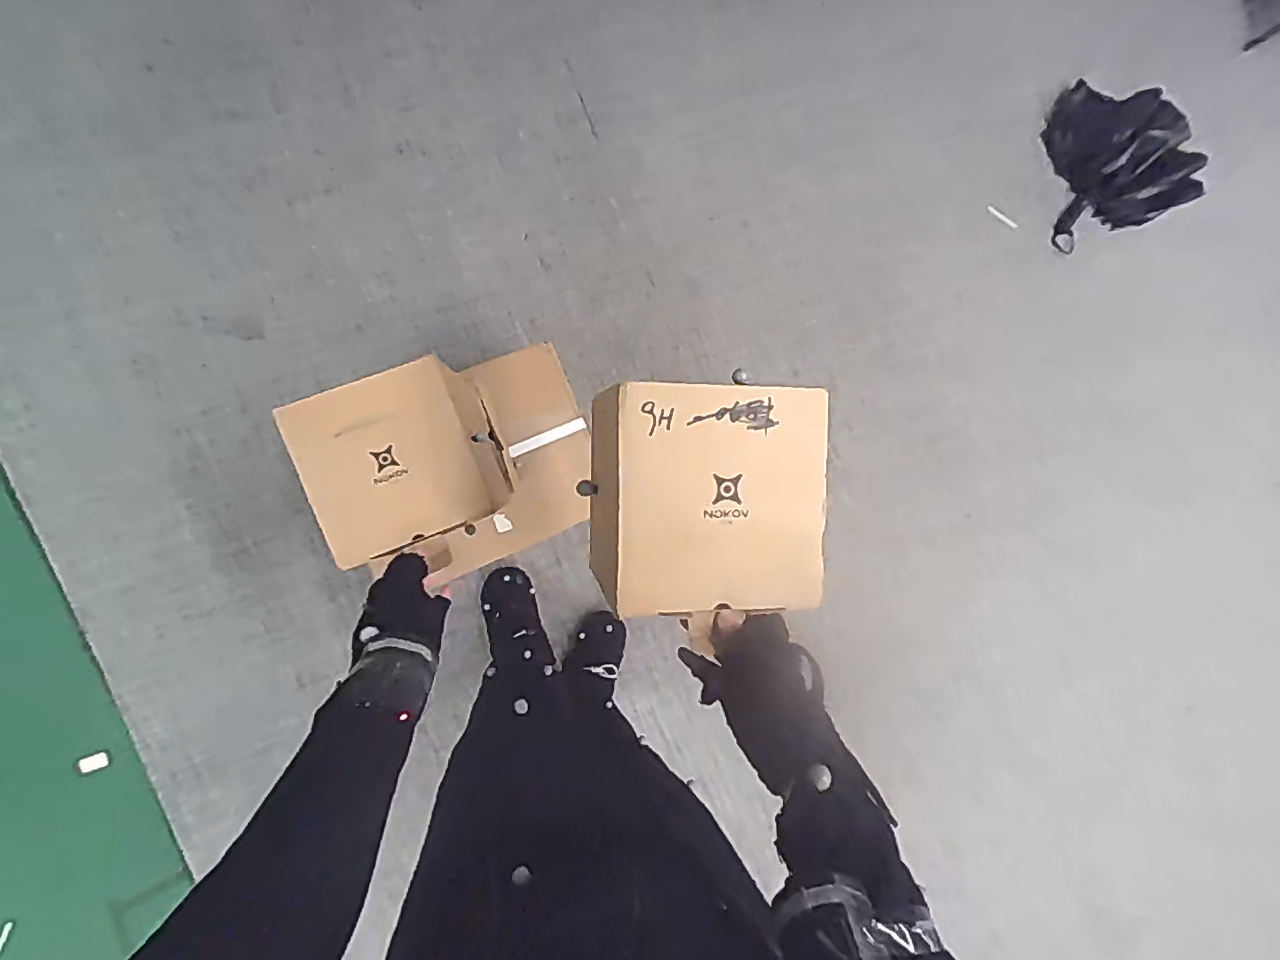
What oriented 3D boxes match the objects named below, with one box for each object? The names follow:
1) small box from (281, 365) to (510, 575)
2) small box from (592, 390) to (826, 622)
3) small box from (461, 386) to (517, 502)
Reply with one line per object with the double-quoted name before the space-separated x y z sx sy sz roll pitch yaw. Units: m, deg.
"small box" -0.263 -0.013 0.631 0.168 0.176 0.179 -22 93 -7
"small box" 0.049 0.015 0.493 0.168 0.176 0.179 0 94 -12
"small box" -0.286 -0.032 0.795 0.179 0.176 0.168 -16 95 -9
